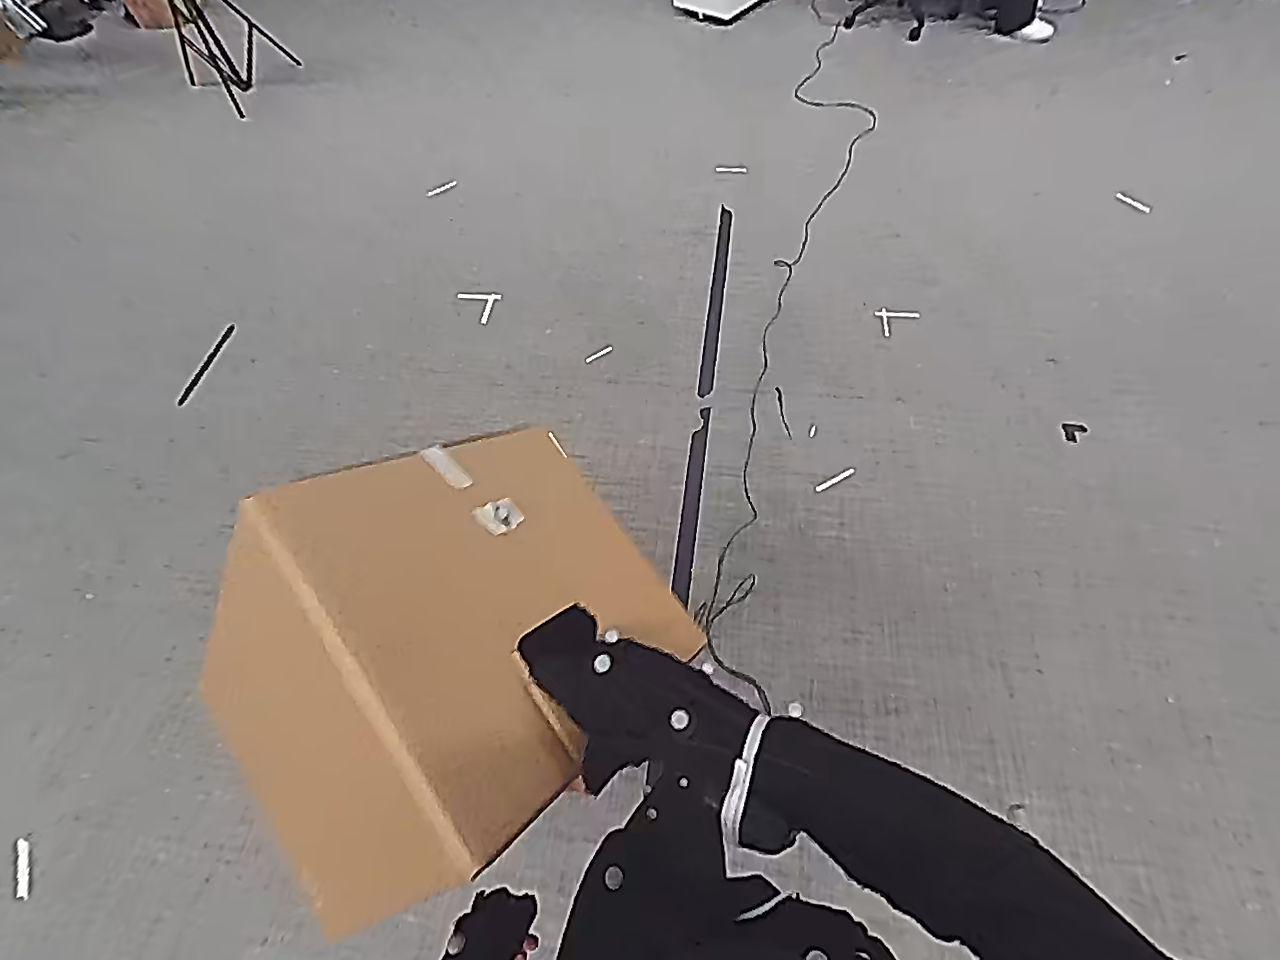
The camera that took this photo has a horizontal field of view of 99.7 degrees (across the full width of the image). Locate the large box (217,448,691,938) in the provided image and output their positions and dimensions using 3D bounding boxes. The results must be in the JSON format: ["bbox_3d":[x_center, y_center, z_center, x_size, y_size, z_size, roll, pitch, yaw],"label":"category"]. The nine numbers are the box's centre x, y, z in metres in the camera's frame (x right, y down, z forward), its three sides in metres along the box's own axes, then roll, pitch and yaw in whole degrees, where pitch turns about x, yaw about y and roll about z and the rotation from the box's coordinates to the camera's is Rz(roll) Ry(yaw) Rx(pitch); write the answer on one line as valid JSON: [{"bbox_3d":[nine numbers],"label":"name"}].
[{"bbox_3d":[-0.224,0.224,0.615,0.320,0.408,0.320,52,36,13],"label":"large box"}]
